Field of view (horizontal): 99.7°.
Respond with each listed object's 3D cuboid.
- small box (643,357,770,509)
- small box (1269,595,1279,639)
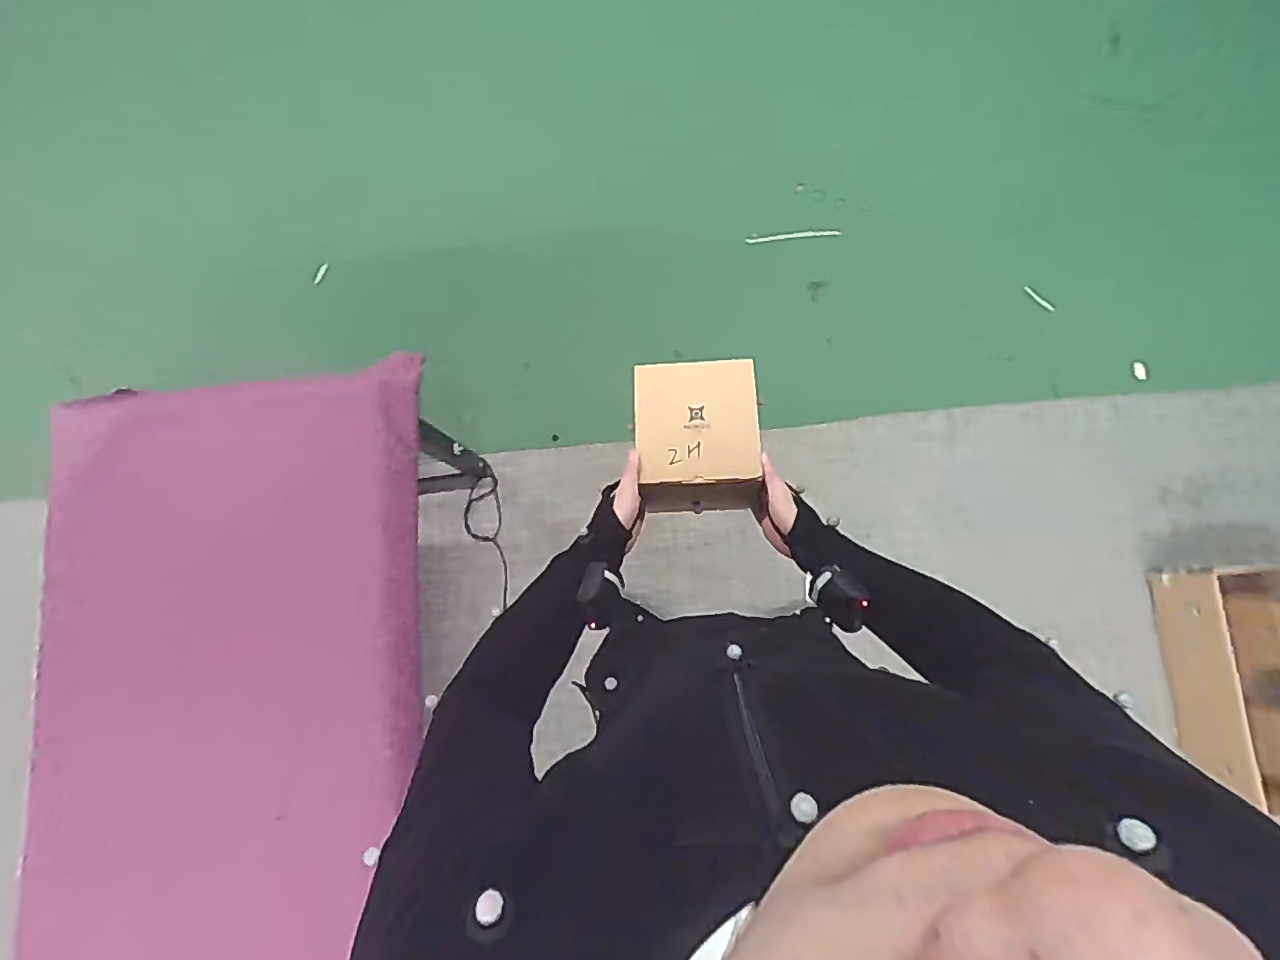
[{"bbox_3d":[0.092,-0.061,0.795,0.168,0.176,0.179,-1,74,5],"label":"small box"},{"bbox_3d":[1.698,0.353,1.291,0.179,0.176,0.168,-7,80,0],"label":"small box"}]
